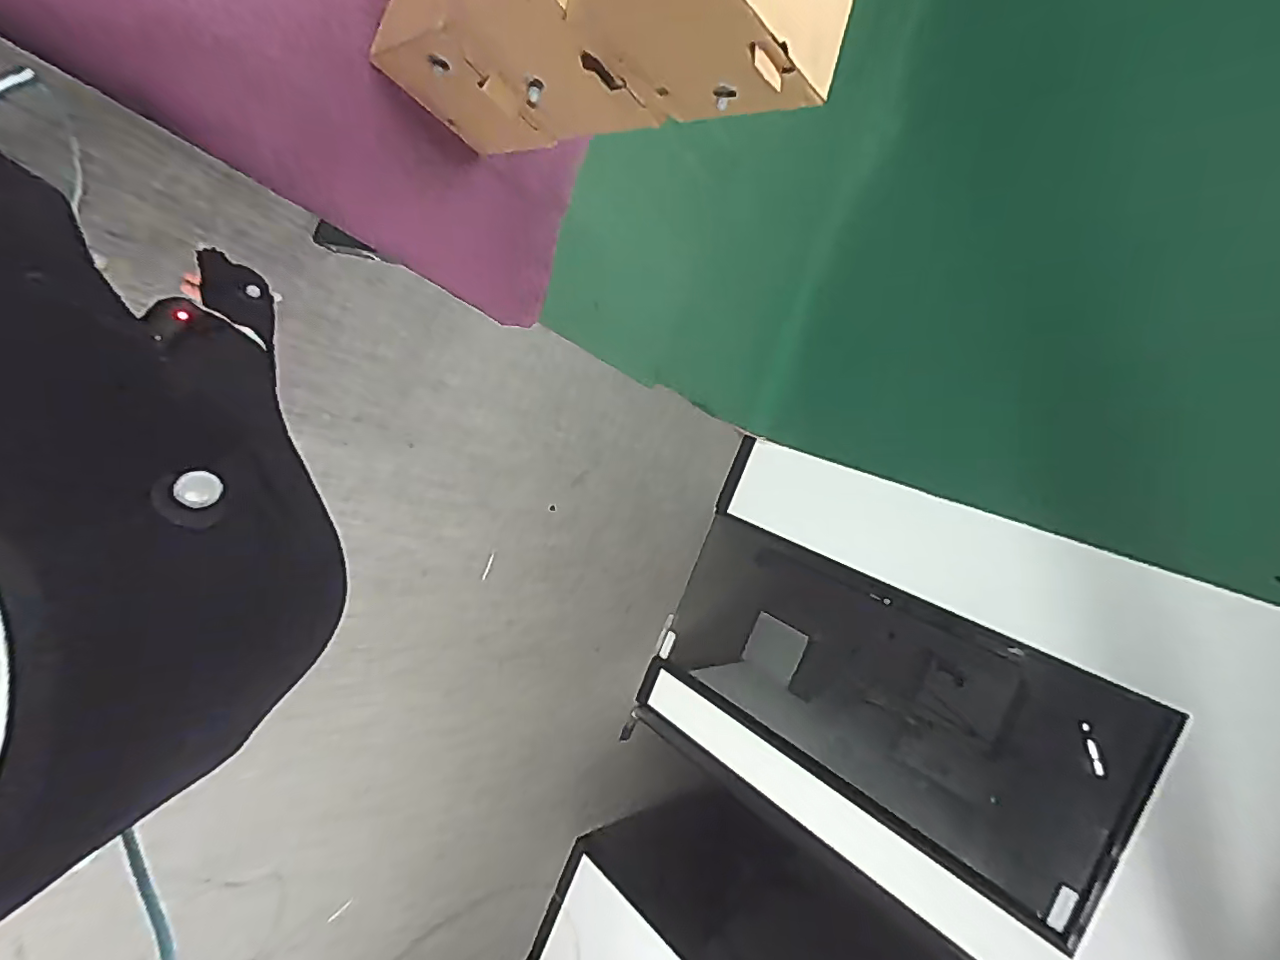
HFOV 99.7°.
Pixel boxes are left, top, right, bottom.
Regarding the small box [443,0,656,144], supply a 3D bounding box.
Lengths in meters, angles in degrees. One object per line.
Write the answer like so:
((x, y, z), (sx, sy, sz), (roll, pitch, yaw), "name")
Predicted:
((-0.068, -0.473, 0.541), (0.168, 0.176, 0.179), (14, 97, -52), "small box")
